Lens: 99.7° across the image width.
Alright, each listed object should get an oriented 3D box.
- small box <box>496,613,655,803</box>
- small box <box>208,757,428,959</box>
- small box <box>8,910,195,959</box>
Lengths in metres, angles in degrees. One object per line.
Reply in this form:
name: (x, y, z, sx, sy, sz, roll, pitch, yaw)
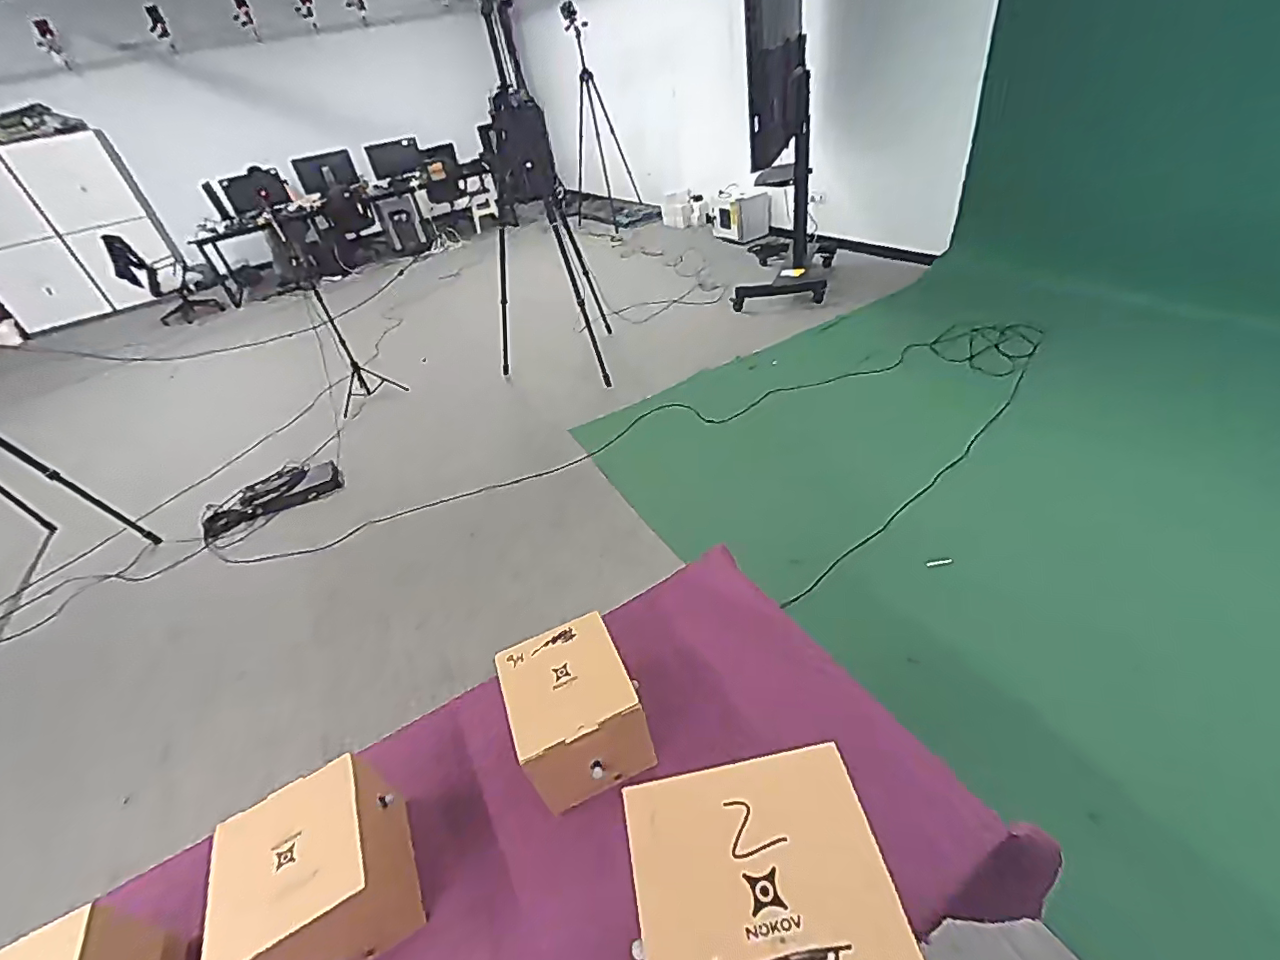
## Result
small box: (-0.091, 0.338, 0.793, 0.168, 0.176, 0.179, -22, 39, -12)
small box: (-0.388, 0.499, 0.674, 0.168, 0.176, 0.179, -26, 40, -16)
small box: (-0.630, 0.622, 0.581, 0.179, 0.176, 0.168, -26, 39, -17)
